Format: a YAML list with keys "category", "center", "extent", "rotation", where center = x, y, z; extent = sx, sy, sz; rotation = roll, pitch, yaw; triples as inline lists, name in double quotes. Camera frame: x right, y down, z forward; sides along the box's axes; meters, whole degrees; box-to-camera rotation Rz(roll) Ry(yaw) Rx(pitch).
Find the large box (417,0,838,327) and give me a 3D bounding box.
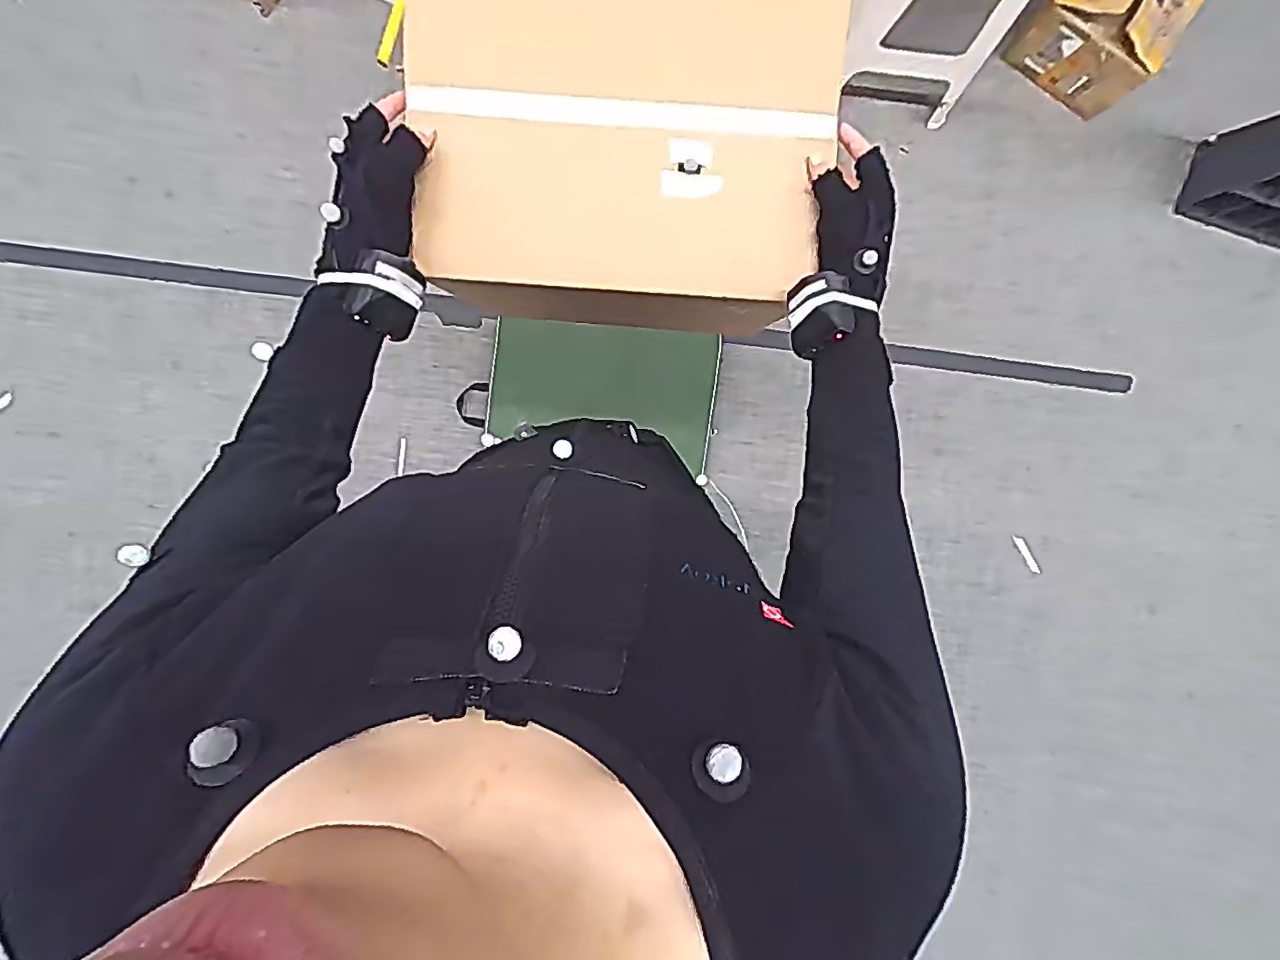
- category: "large box"
  center: [-0.020, -0.374, 0.671]
  extent: [0.408, 0.320, 0.320]
  rotation: [3, 100, -2]
